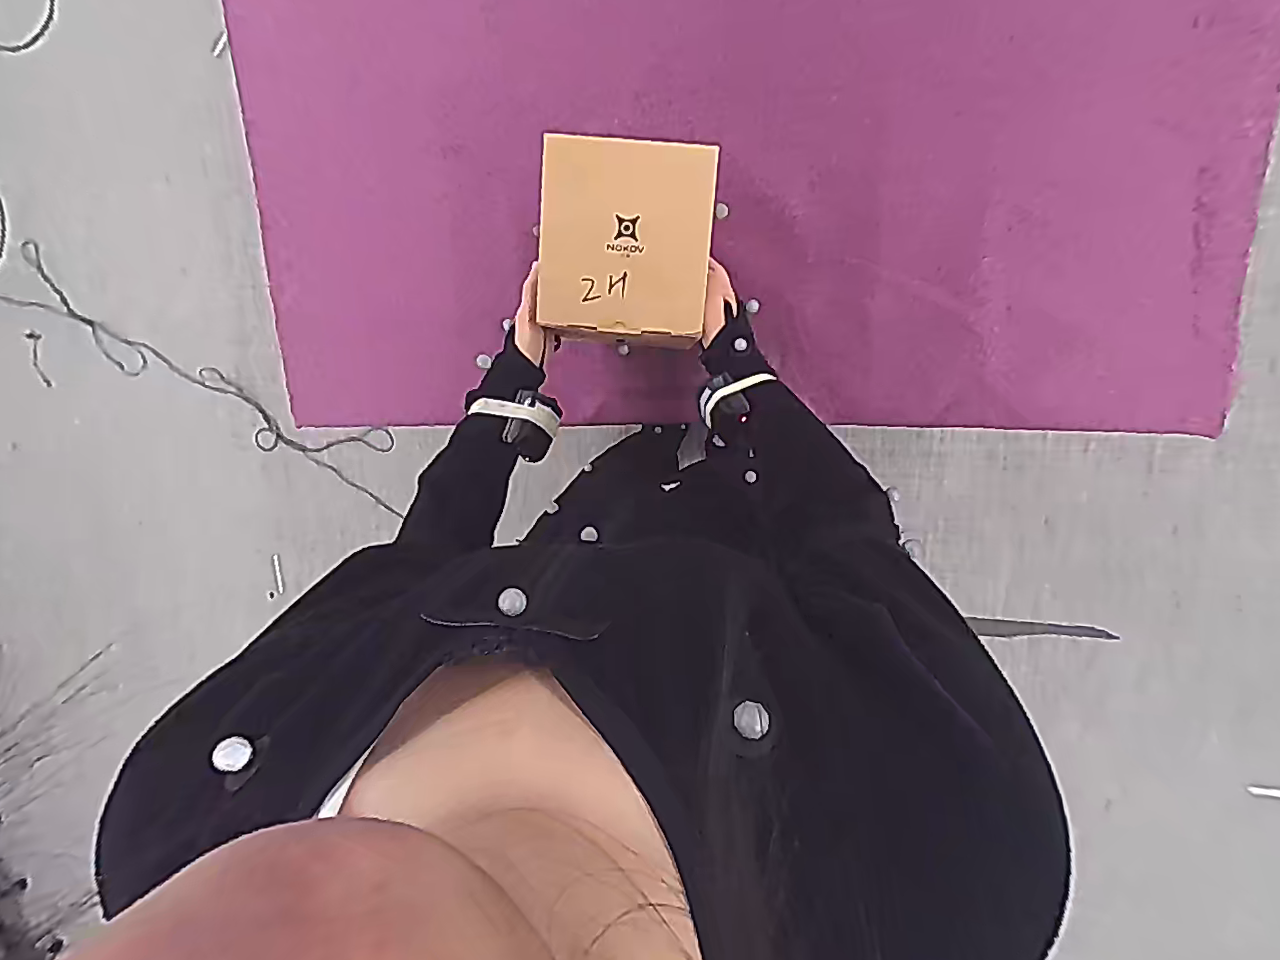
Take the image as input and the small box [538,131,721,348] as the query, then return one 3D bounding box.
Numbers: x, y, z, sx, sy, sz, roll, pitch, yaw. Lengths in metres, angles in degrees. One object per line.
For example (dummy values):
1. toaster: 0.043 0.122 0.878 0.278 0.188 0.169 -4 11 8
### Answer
1. small box: -0.012 -0.247 0.599 0.168 0.176 0.179 5 100 0
